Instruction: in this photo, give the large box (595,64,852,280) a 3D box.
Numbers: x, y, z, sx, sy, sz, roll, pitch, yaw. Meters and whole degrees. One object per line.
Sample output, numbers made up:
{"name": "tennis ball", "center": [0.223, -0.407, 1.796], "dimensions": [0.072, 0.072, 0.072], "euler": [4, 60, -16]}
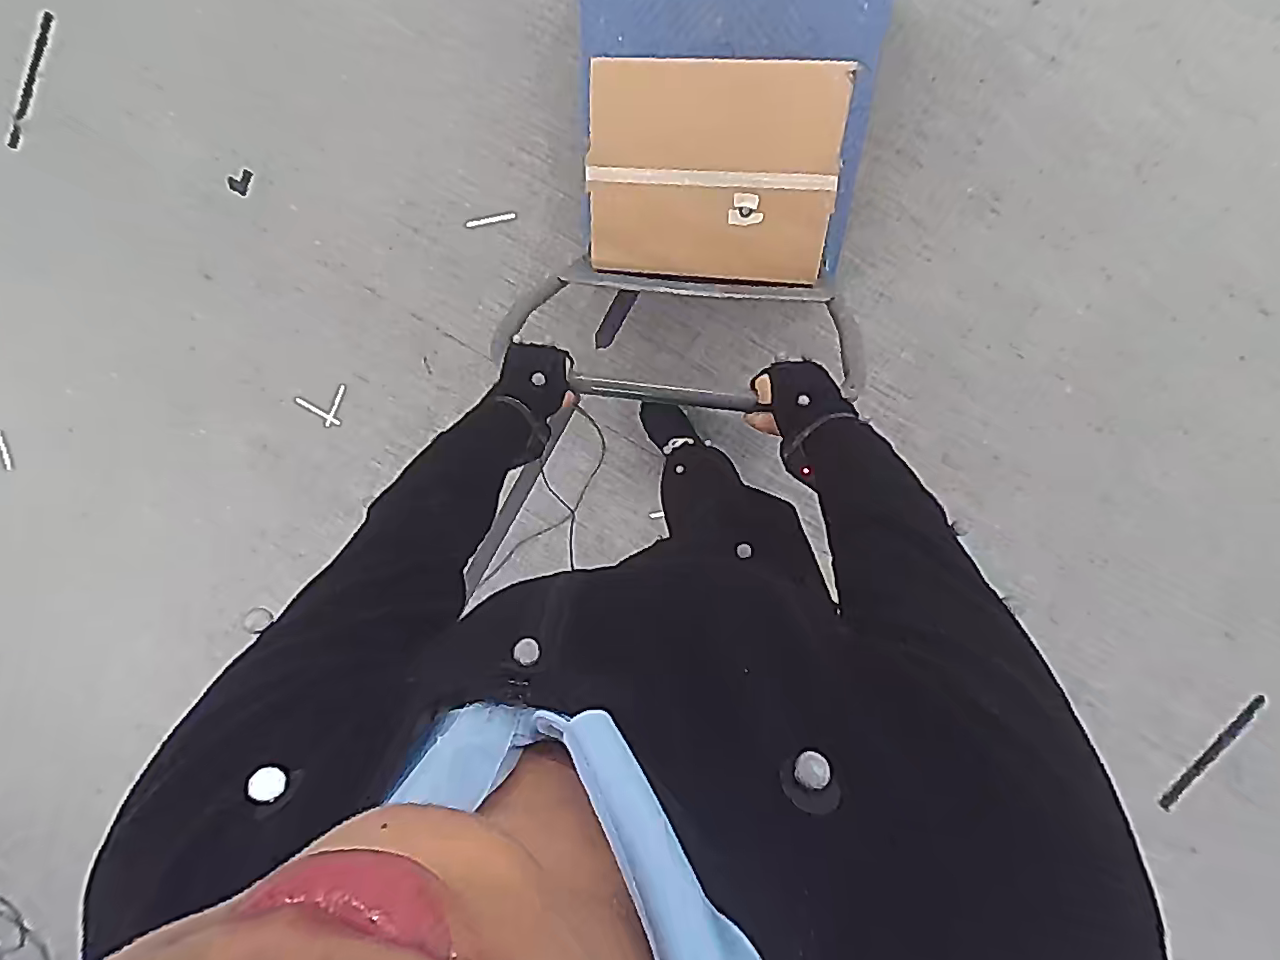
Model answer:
{"name": "large box", "center": [0.143, -0.573, 1.036], "dimensions": [0.408, 0.320, 0.320], "euler": [6, 120, 7]}
